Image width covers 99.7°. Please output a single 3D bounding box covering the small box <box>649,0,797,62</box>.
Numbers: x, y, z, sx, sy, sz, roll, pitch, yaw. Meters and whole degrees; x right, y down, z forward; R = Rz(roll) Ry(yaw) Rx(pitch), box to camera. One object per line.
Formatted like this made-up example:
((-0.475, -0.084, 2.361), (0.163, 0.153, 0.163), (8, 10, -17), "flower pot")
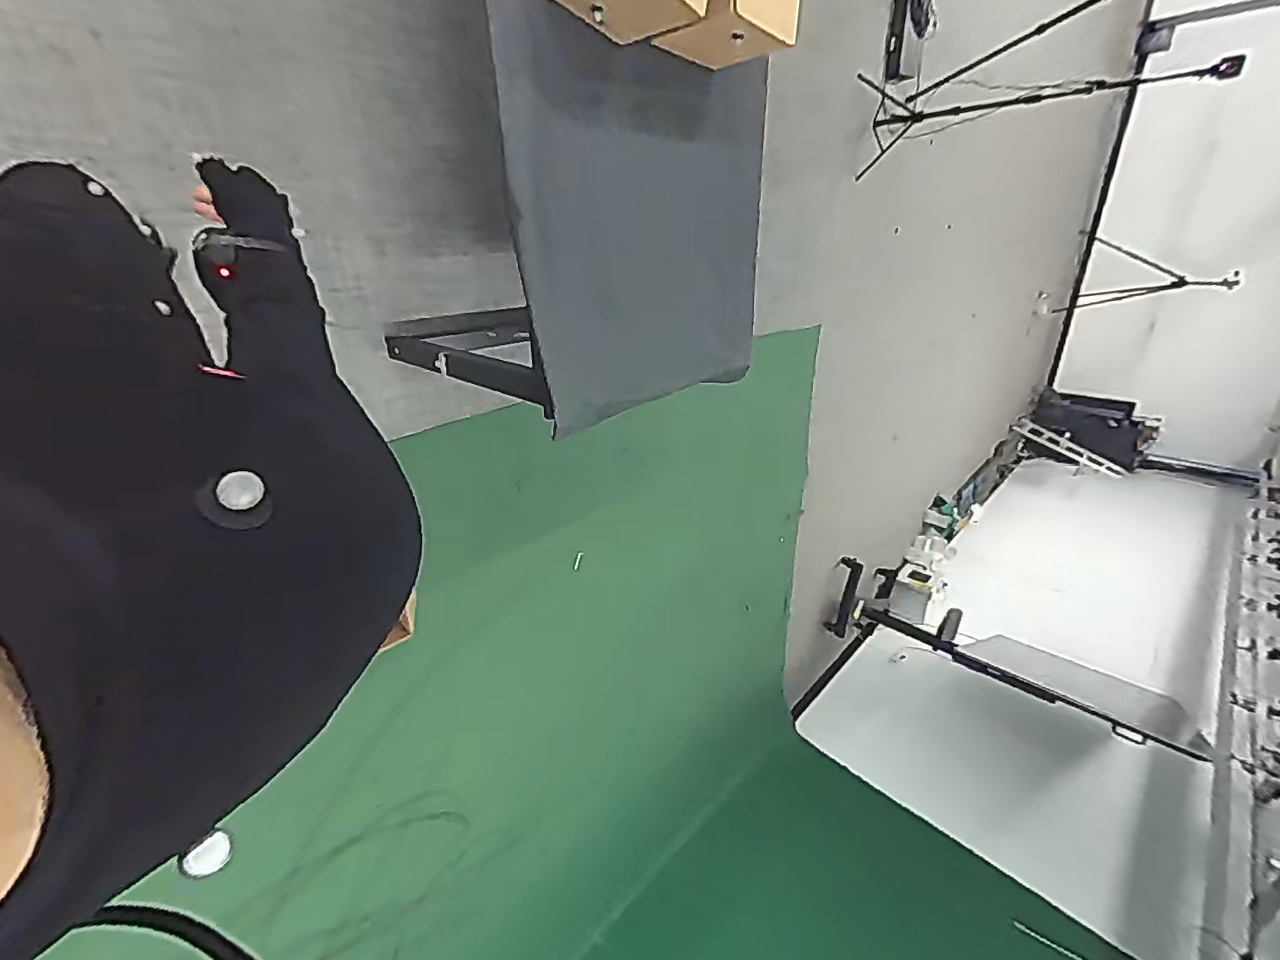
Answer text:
((0.130, -0.783, 0.841), (0.179, 0.176, 0.168), (-20, 121, -42), "small box")
